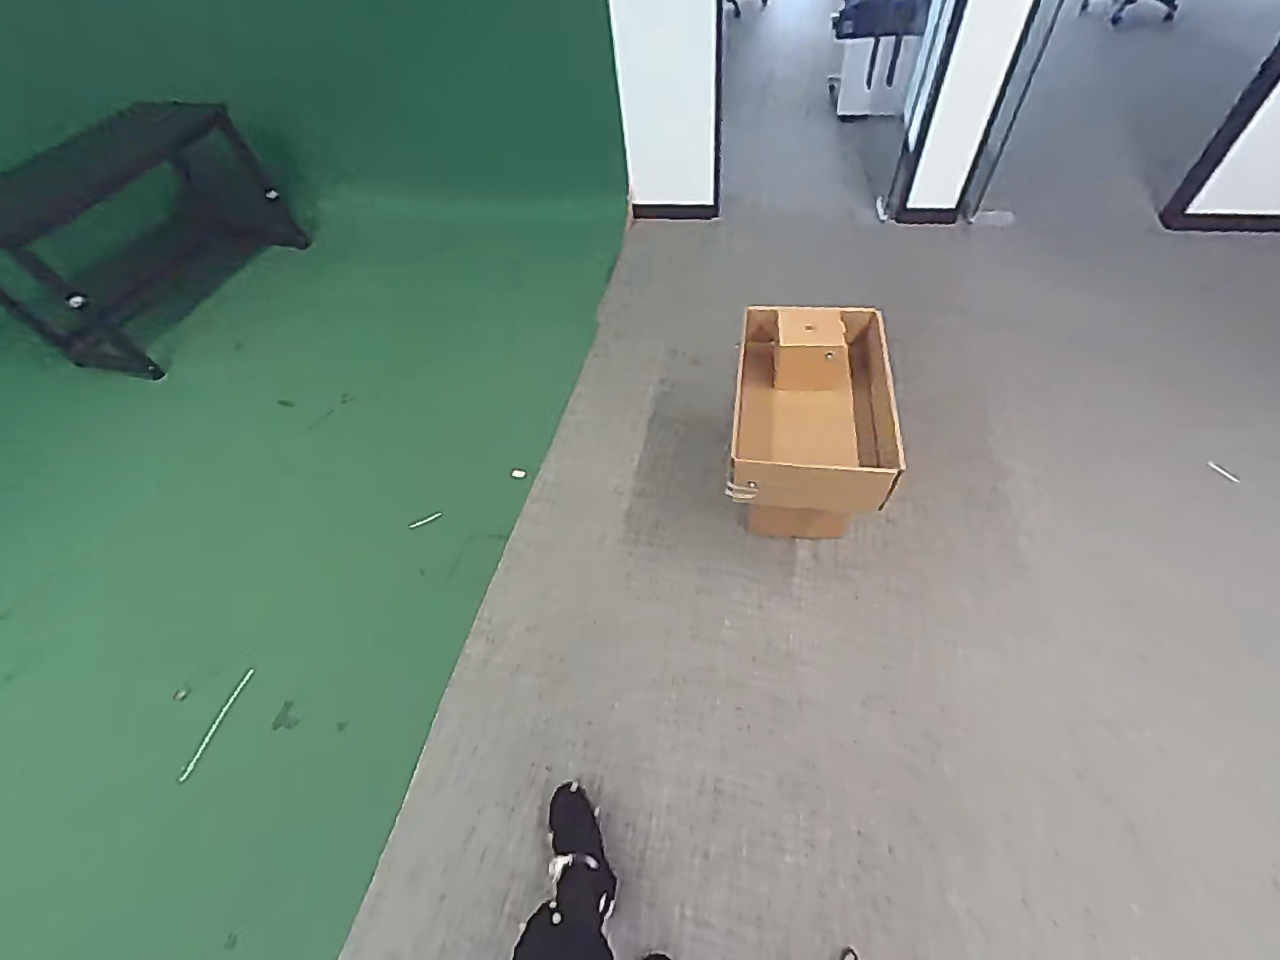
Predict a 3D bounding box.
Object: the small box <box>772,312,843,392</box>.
[{"bbox_3d":[0.481,-0.372,1.583,0.179,0.176,0.168,2,53,8],"label":"small box"}]
